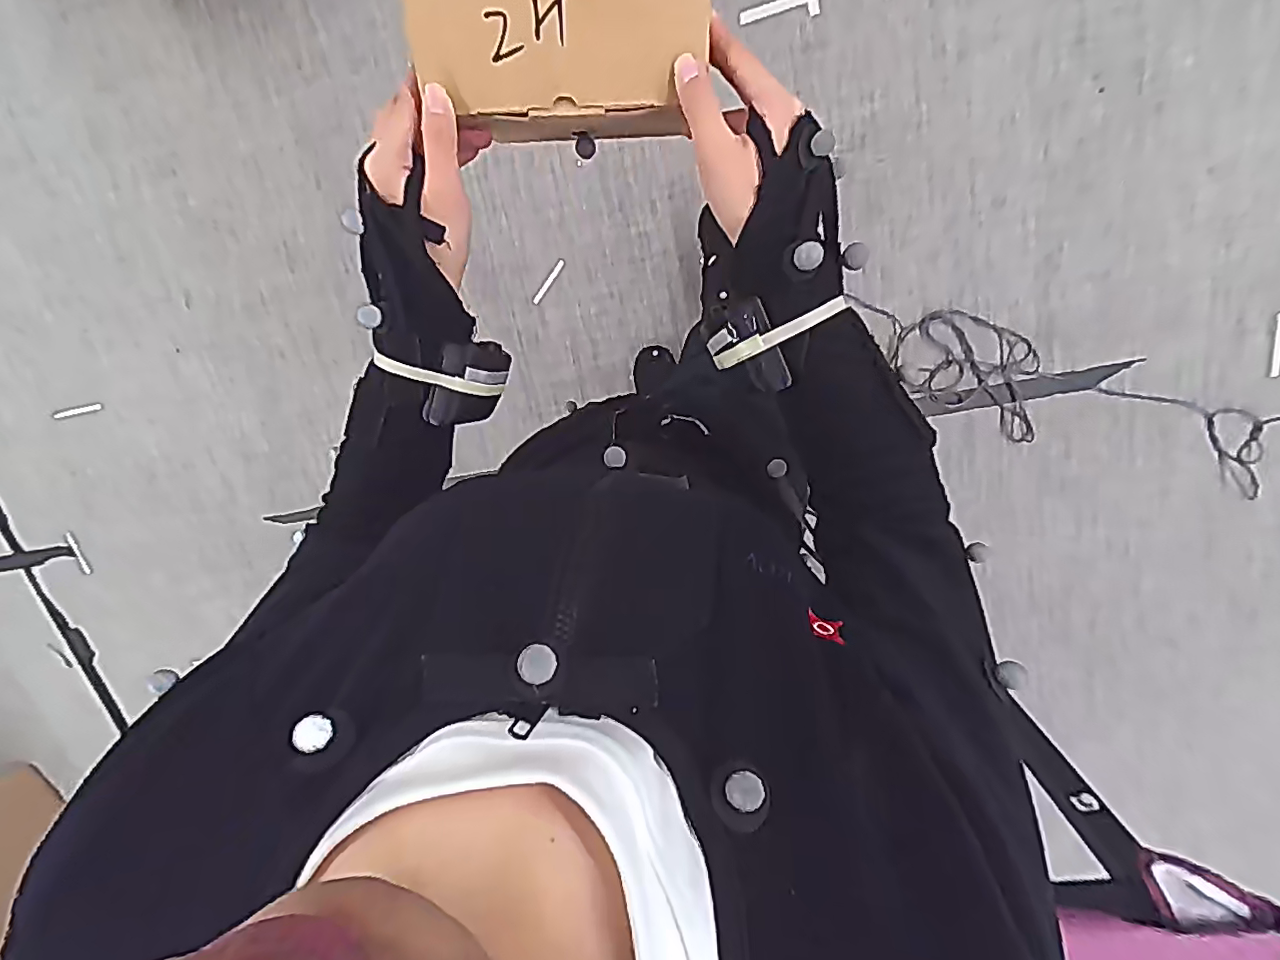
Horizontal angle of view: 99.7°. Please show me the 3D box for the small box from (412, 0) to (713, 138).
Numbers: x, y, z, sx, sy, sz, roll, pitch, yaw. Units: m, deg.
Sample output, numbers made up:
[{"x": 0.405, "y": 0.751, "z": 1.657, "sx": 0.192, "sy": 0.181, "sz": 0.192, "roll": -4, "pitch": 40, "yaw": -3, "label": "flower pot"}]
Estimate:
[{"x": -0.043, "y": -0.332, "z": 0.345, "sx": 0.168, "sy": 0.176, "sz": 0.179, "roll": -1, "pitch": 118, "yaw": 1, "label": "small box"}]
